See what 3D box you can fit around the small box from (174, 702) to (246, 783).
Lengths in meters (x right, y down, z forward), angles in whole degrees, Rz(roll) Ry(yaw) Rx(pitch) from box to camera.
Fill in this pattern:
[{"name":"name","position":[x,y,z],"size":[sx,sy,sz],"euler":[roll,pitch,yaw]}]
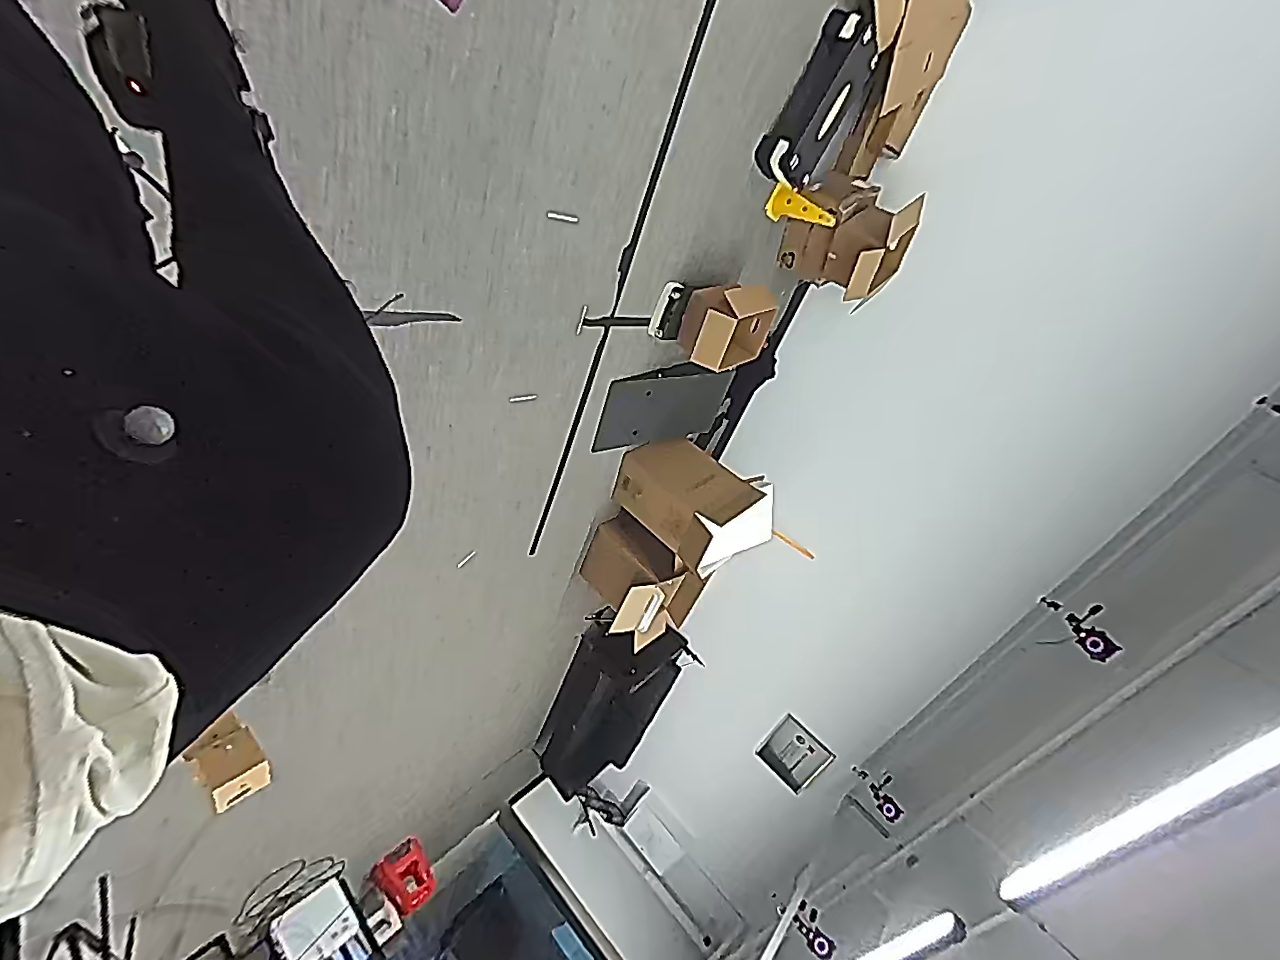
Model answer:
[{"name":"small box","position":[-1.573,0.961,1.996],"size":[0.179,0.176,0.168],"euler":[-25,146,-45]}]

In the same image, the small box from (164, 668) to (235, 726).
[{"name":"small box","position":[-1.680,0.860,2.070],"size":[0.168,0.176,0.179],"euler":[-24,145,-46]}]

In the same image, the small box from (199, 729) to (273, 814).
[{"name":"small box","position":[-1.439,1.034,1.928],"size":[0.168,0.176,0.179],"euler":[-24,144,-48]}]
